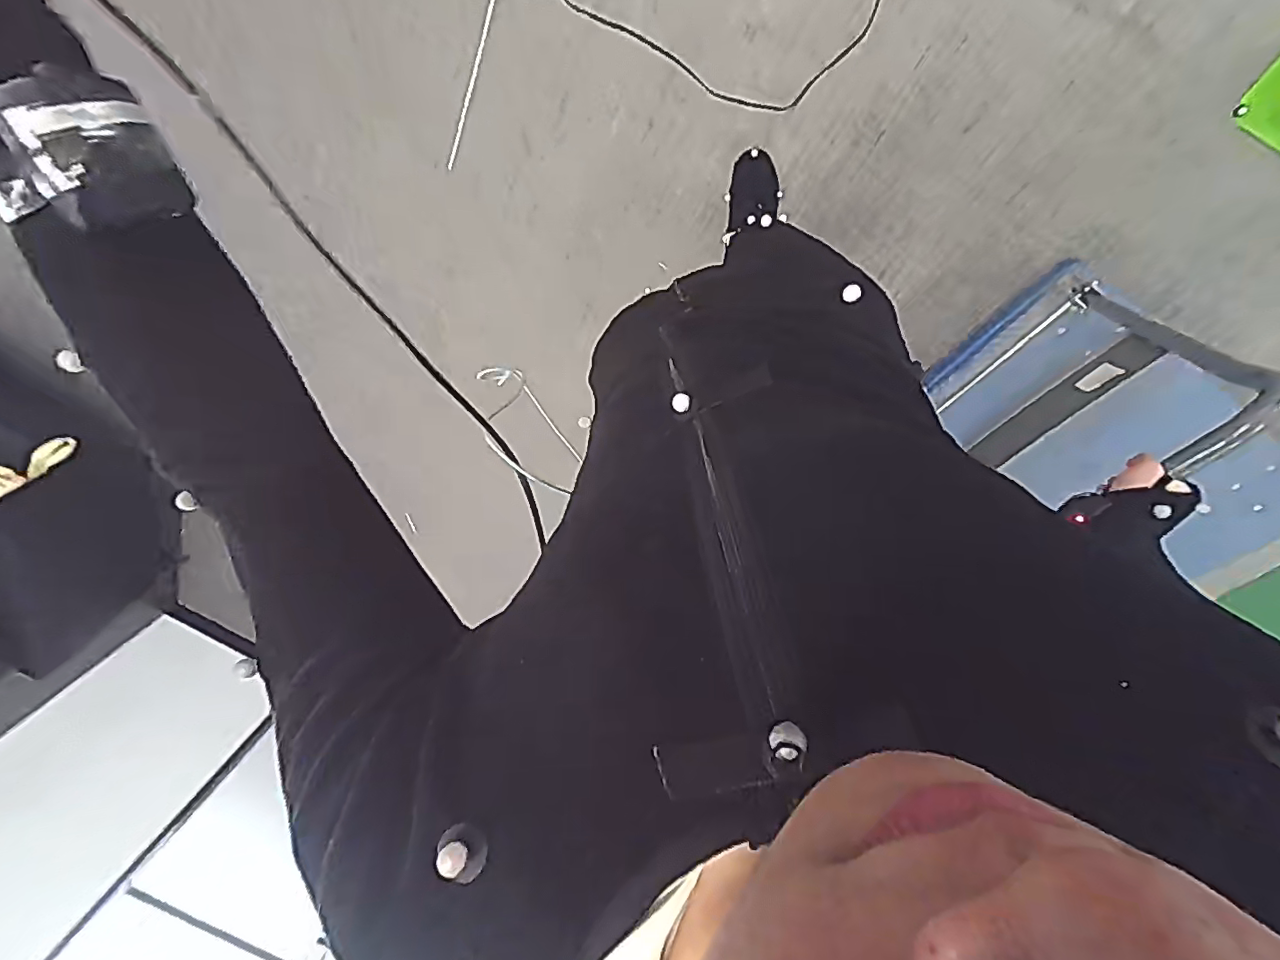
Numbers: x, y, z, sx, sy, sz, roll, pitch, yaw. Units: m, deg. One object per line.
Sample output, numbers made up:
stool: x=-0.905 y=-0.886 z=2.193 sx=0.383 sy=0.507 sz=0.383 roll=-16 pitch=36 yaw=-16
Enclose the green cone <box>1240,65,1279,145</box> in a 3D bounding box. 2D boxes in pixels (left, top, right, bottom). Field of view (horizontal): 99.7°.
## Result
green cone: x=1.239 y=-0.647 z=0.855 sx=0.200 sy=0.368 sz=0.202 roll=28 pitch=122 yaw=-2
